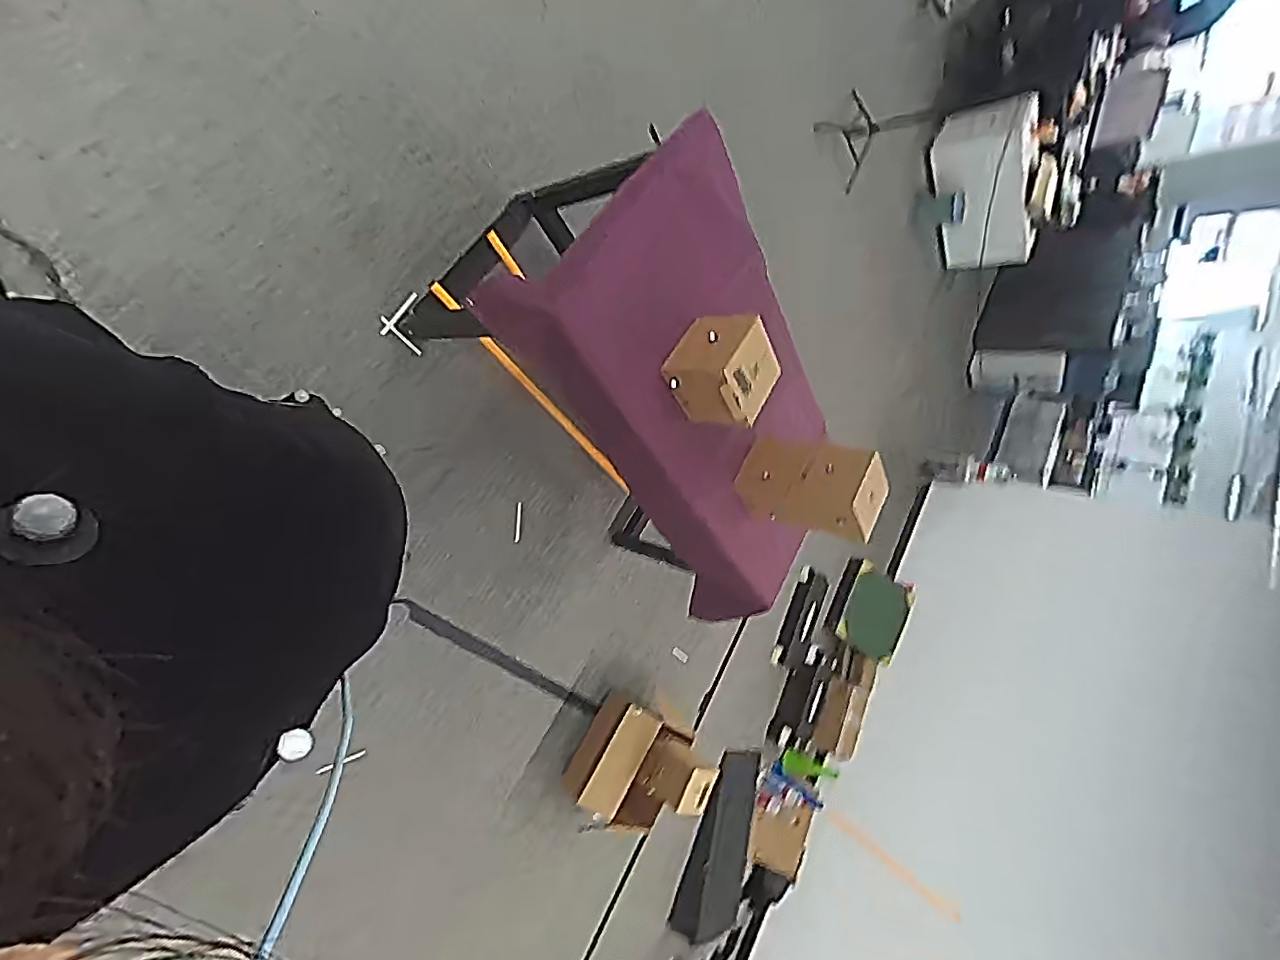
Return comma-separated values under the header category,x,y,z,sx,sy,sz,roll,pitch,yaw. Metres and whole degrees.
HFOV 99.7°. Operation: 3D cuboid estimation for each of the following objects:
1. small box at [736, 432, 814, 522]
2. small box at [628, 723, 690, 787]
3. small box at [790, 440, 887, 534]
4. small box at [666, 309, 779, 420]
category,x,y,z,sx,sy,sz,roll,pitch,yaw
small box,0.385,-0.013,1.486,0.168,0.176,0.179,49,64,-42
small box,0.074,1.124,2.232,0.168,0.176,0.179,19,88,-44
small box,0.505,0.013,1.377,0.168,0.176,0.179,-58,135,-19
small box,0.179,-0.256,1.206,0.179,0.176,0.168,-57,134,-22
